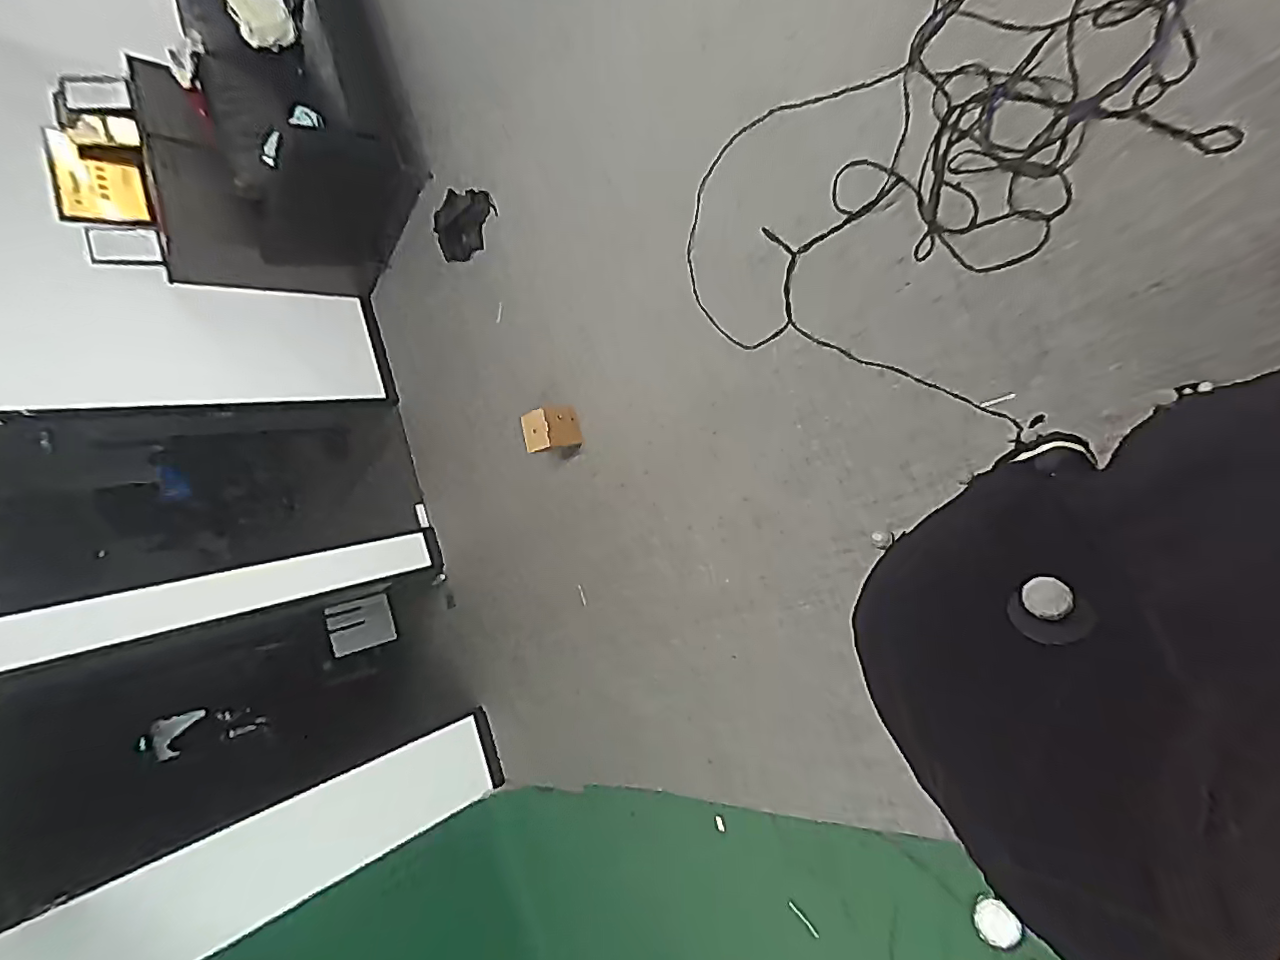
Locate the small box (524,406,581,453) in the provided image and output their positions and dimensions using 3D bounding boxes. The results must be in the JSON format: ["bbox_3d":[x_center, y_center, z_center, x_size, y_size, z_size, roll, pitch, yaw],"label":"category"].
[{"bbox_3d":[-0.365,-0.217,2.299,0.179,0.176,0.168,-14,86,48],"label":"small box"}]
